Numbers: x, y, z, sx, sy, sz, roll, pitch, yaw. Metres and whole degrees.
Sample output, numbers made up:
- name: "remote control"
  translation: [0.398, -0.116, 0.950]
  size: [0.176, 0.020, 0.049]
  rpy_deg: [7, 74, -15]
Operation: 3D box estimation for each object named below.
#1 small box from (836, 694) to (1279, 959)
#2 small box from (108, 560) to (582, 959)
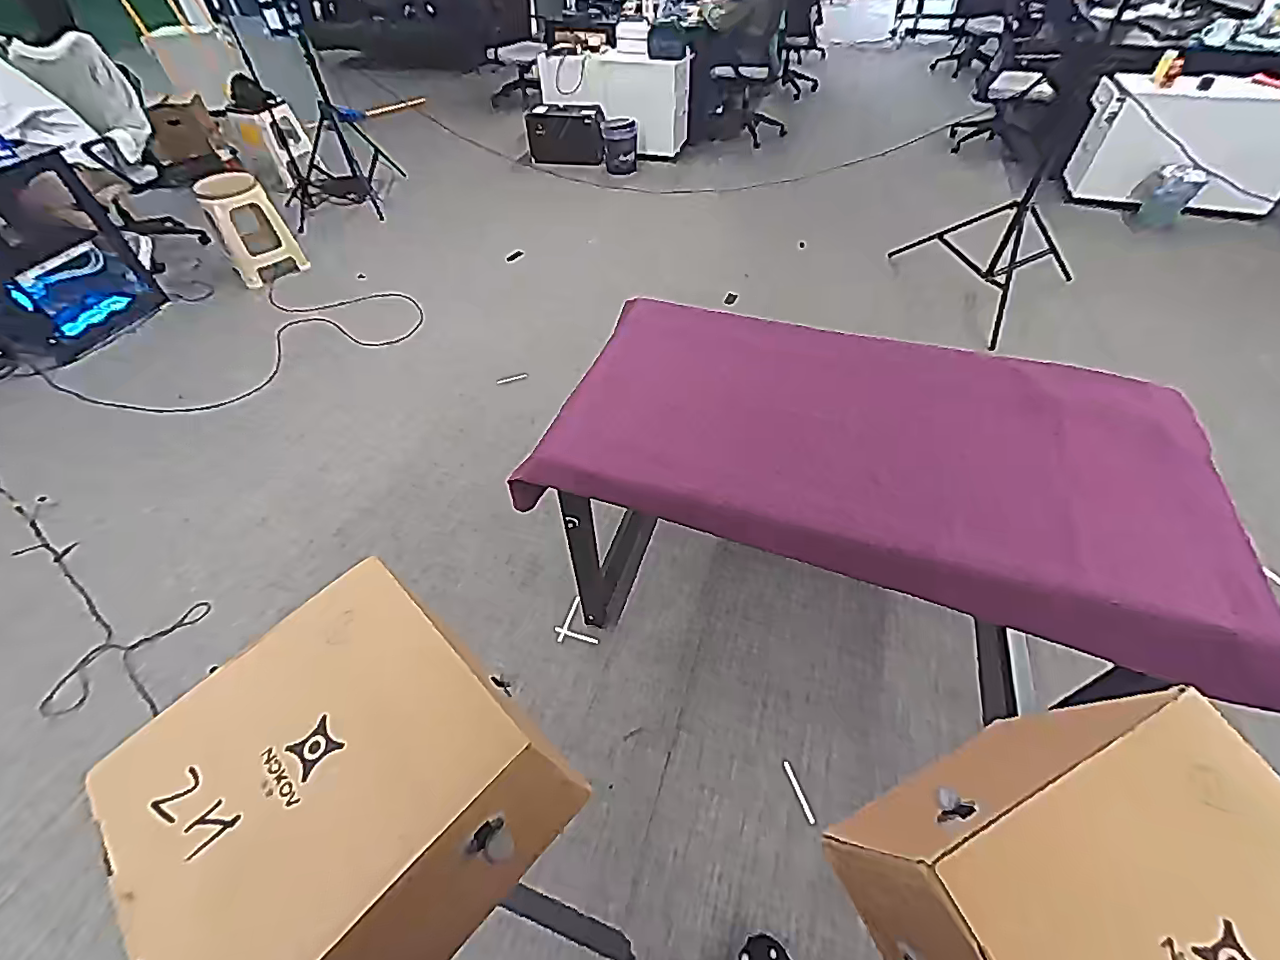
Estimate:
- name: "small box"
  translation: [0.244, 0.243, 0.299]
  size: [0.179, 0.176, 0.168]
  rpy_deg: [-24, 63, -12]
- name: "small box"
  translation: [-0.153, 0.191, 0.339]
  size: [0.168, 0.176, 0.179]
  rpy_deg: [35, 65, 30]
